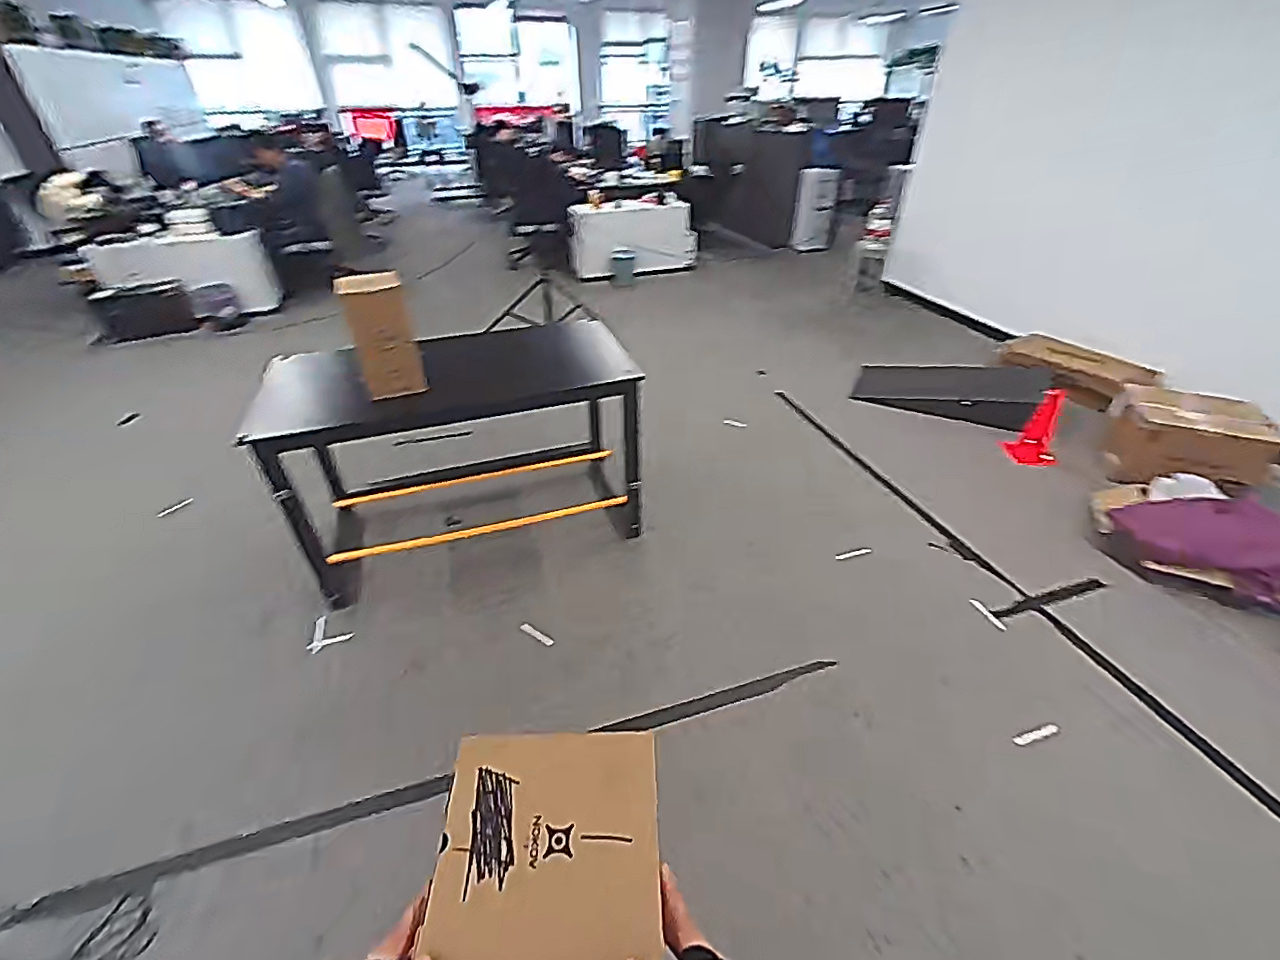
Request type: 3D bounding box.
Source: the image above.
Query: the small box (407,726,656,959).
[{"bbox_3d":[-0.077,0.340,0.483,0.179,0.176,0.168,-2,42,-2],"label":"small box"}]

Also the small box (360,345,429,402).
[{"bbox_3d":[-0.790,-0.364,1.748,0.168,0.176,0.179,-15,38,-18],"label":"small box"}]

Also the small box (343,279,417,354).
[{"bbox_3d":[-0.793,-0.501,1.654,0.168,0.176,0.179,-16,38,-19],"label":"small box"}]
